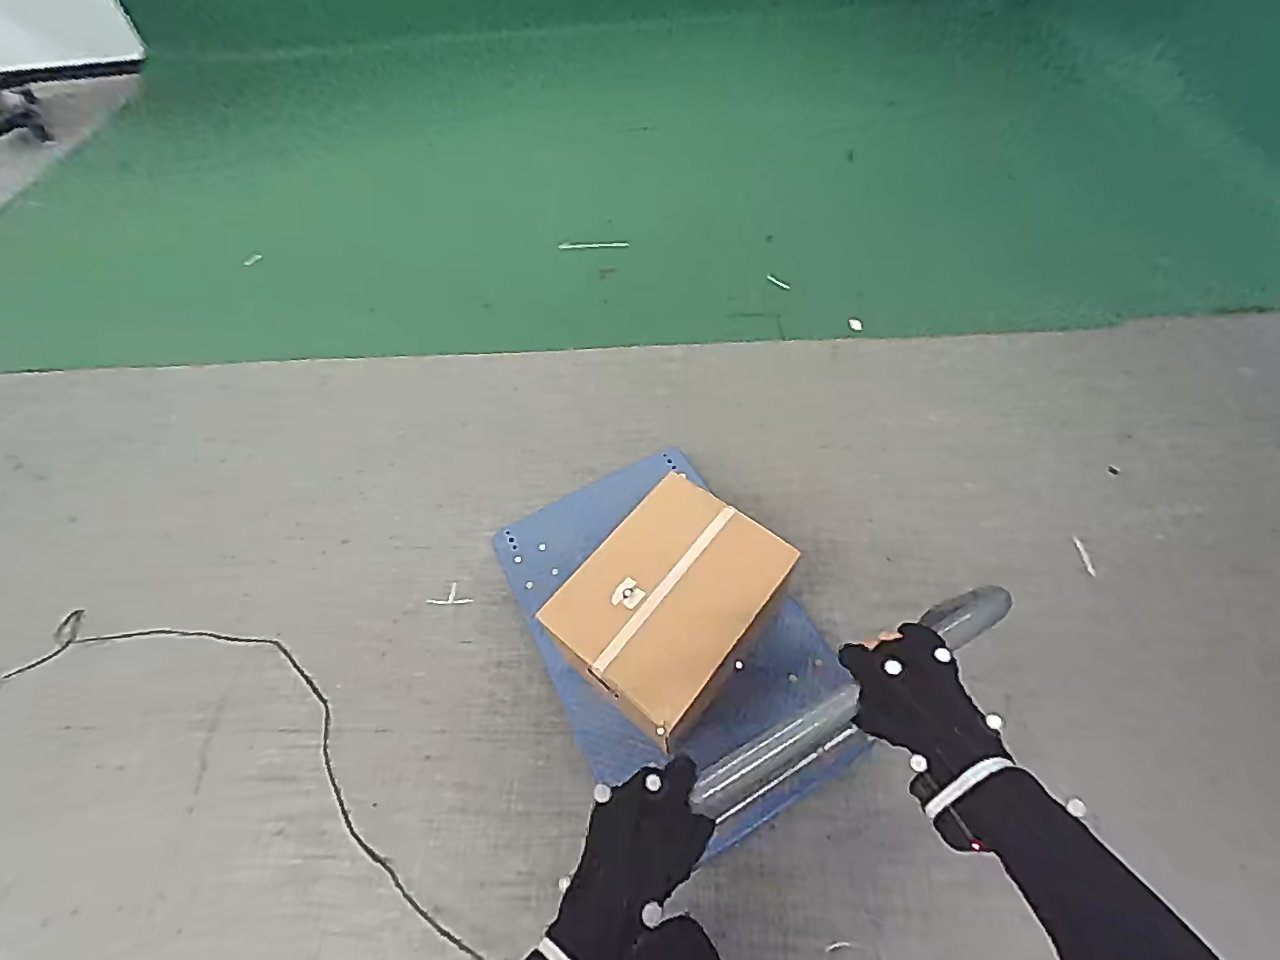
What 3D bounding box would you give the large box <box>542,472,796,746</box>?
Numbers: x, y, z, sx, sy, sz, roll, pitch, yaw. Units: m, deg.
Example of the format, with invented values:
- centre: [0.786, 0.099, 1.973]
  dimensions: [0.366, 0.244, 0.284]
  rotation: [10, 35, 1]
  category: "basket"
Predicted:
- centre: [0.068, 0.270, 1.128]
  dimensions: [0.320, 0.320, 0.408]
  rotation: [34, 67, 24]
  category: "large box"
